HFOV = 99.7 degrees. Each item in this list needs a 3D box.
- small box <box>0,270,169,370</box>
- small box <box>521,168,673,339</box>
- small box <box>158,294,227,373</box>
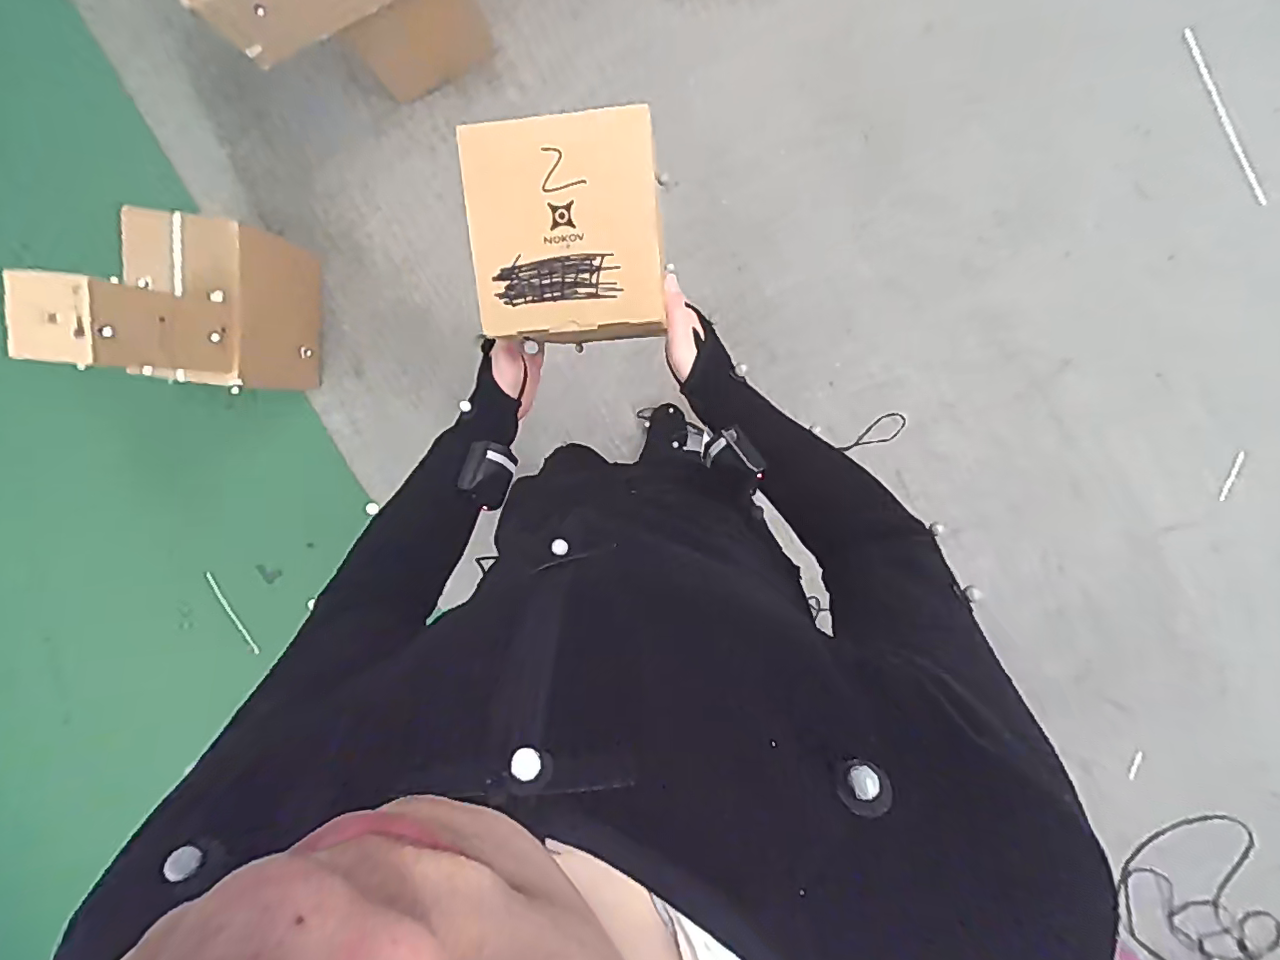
[{"bbox_3d":[-1.114,-0.316,1.097,0.179,0.176,0.168,6,99,4],"label":"small box"},{"bbox_3d":[-0.044,-0.277,0.702,0.168,0.176,0.179,-3,102,4],"label":"small box"},{"bbox_3d":[-1.112,-0.342,1.259,0.179,0.176,0.168,6,99,2],"label":"small box"}]
